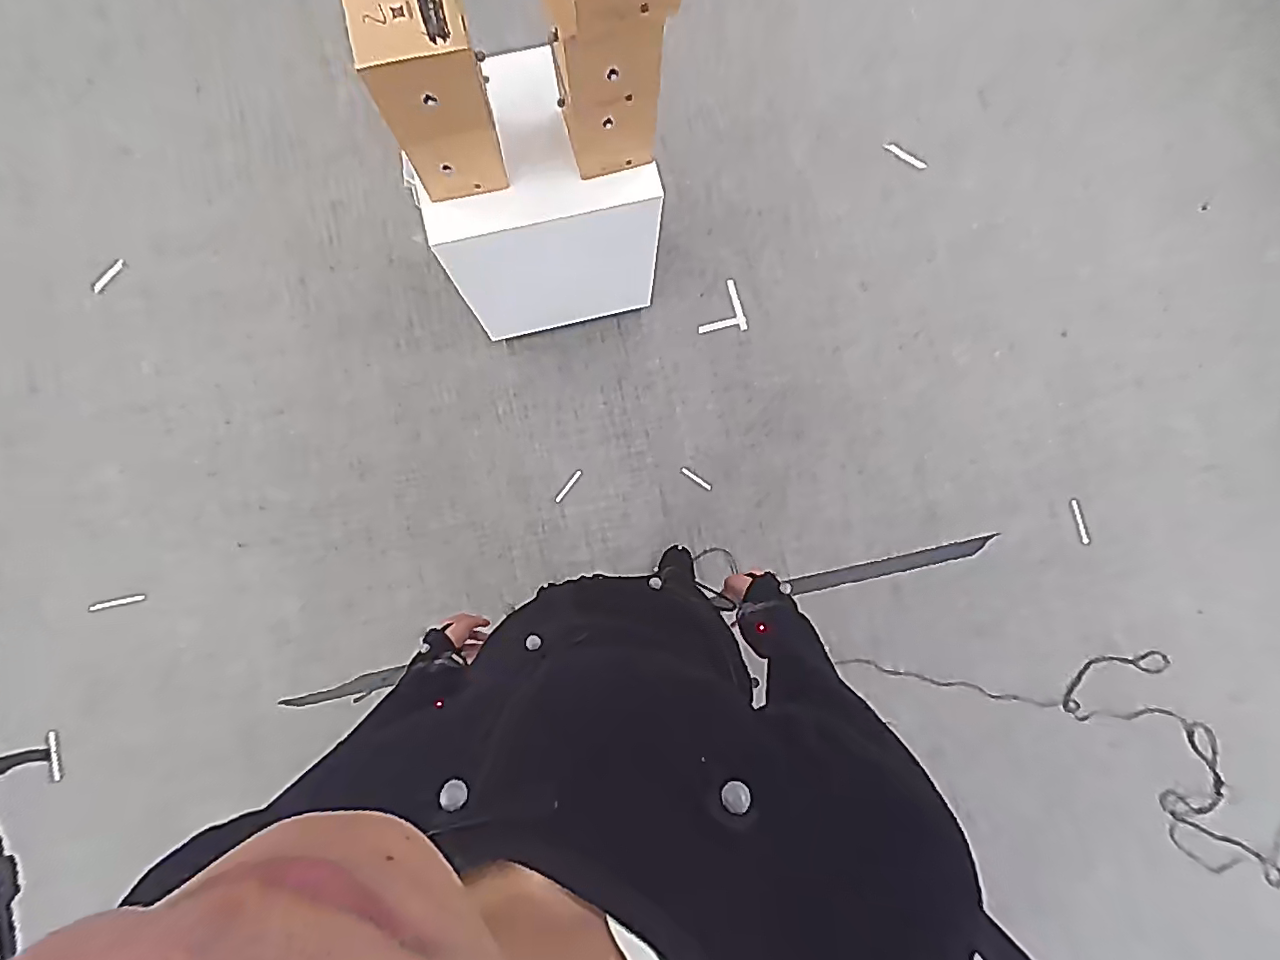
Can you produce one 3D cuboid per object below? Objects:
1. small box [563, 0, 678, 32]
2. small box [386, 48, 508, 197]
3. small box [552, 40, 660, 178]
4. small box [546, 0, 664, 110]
[{"bbox_3d":[-0.041,-0.772,0.747,0.168,0.176,0.179,-20,85,-4],"label":"small box"},{"bbox_3d":[-0.368,-0.686,1.060,0.168,0.176,0.179,-13,84,-4],"label":"small box"},{"bbox_3d":[-0.065,-0.746,1.073,0.168,0.176,0.179,-16,84,-2],"label":"small box"},{"bbox_3d":[-0.062,-0.764,0.909,0.168,0.176,0.179,-15,85,-3],"label":"small box"}]
